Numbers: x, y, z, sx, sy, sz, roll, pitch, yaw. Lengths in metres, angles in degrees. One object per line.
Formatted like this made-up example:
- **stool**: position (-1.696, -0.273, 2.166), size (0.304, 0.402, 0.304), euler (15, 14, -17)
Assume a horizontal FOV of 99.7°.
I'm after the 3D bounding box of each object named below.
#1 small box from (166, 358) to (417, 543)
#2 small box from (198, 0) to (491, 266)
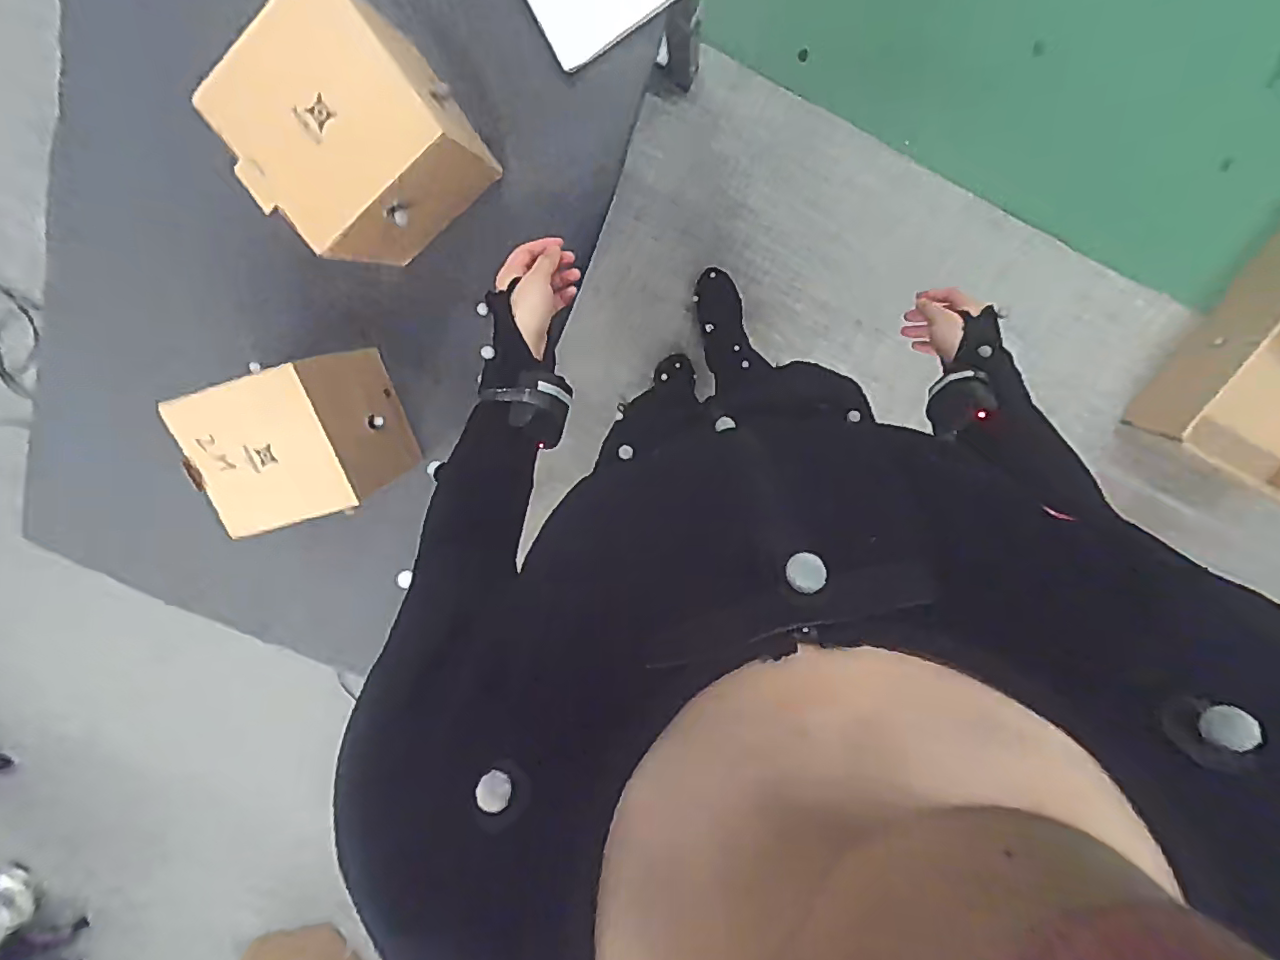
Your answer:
- **small box**: position (-0.406, -0.046, 0.672), size (0.179, 0.176, 0.168), euler (-15, 107, 9)
- **small box**: position (-0.278, -0.345, 0.559), size (0.179, 0.176, 0.168), euler (-34, 103, 16)
